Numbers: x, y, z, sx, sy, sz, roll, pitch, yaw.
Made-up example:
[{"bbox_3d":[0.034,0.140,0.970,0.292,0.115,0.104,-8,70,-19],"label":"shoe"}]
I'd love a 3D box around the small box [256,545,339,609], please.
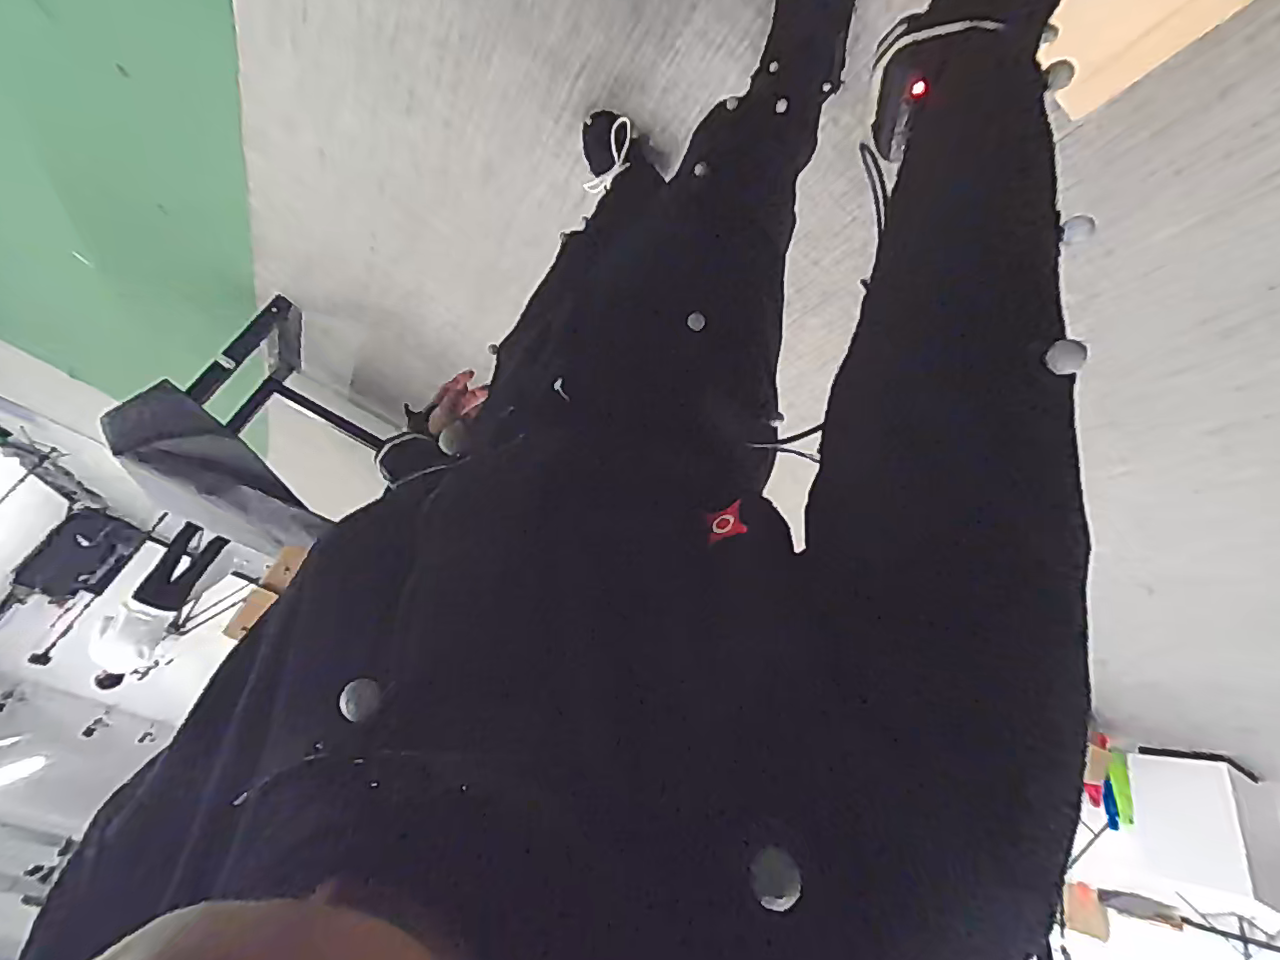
[{"bbox_3d":[-1.186,0.333,1.871,0.179,0.176,0.168,36,149,-27],"label":"small box"}]

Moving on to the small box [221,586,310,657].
[{"bbox_3d":[-1.227,0.461,1.777,0.179,0.176,0.168,38,148,-28],"label":"small box"}]

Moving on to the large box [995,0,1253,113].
[{"bbox_3d":[0.460,-0.669,0.489,0.408,0.320,0.320,31,150,-20],"label":"large box"}]
